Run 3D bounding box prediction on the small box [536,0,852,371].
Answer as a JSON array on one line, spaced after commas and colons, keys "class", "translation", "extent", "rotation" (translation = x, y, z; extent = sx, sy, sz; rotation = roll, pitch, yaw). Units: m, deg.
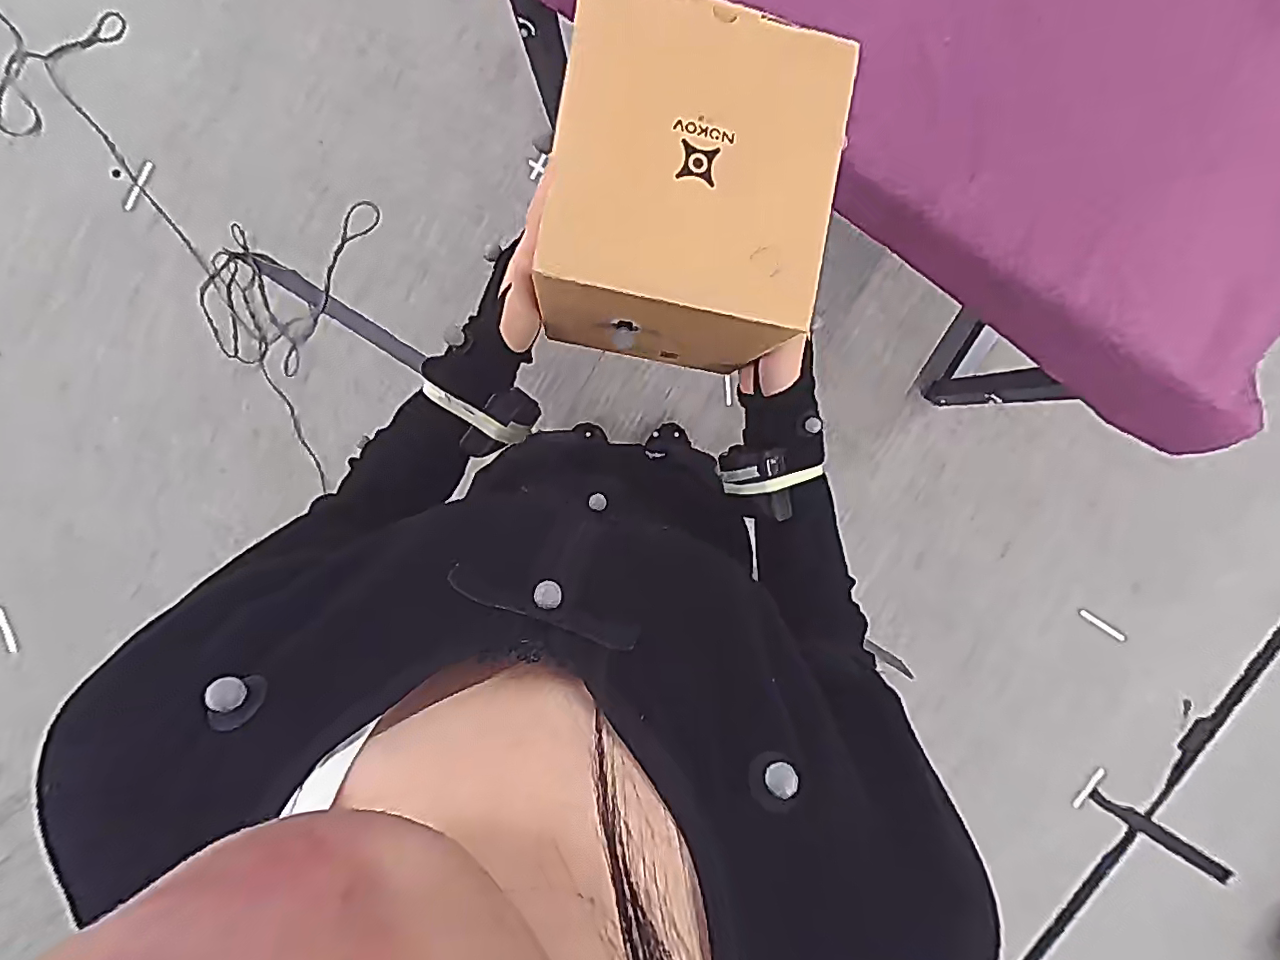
[{"class": "small box", "translation": [0.026, -0.188, 0.396], "extent": [0.168, 0.176, 0.179], "rotation": [9, 89, -7]}]
